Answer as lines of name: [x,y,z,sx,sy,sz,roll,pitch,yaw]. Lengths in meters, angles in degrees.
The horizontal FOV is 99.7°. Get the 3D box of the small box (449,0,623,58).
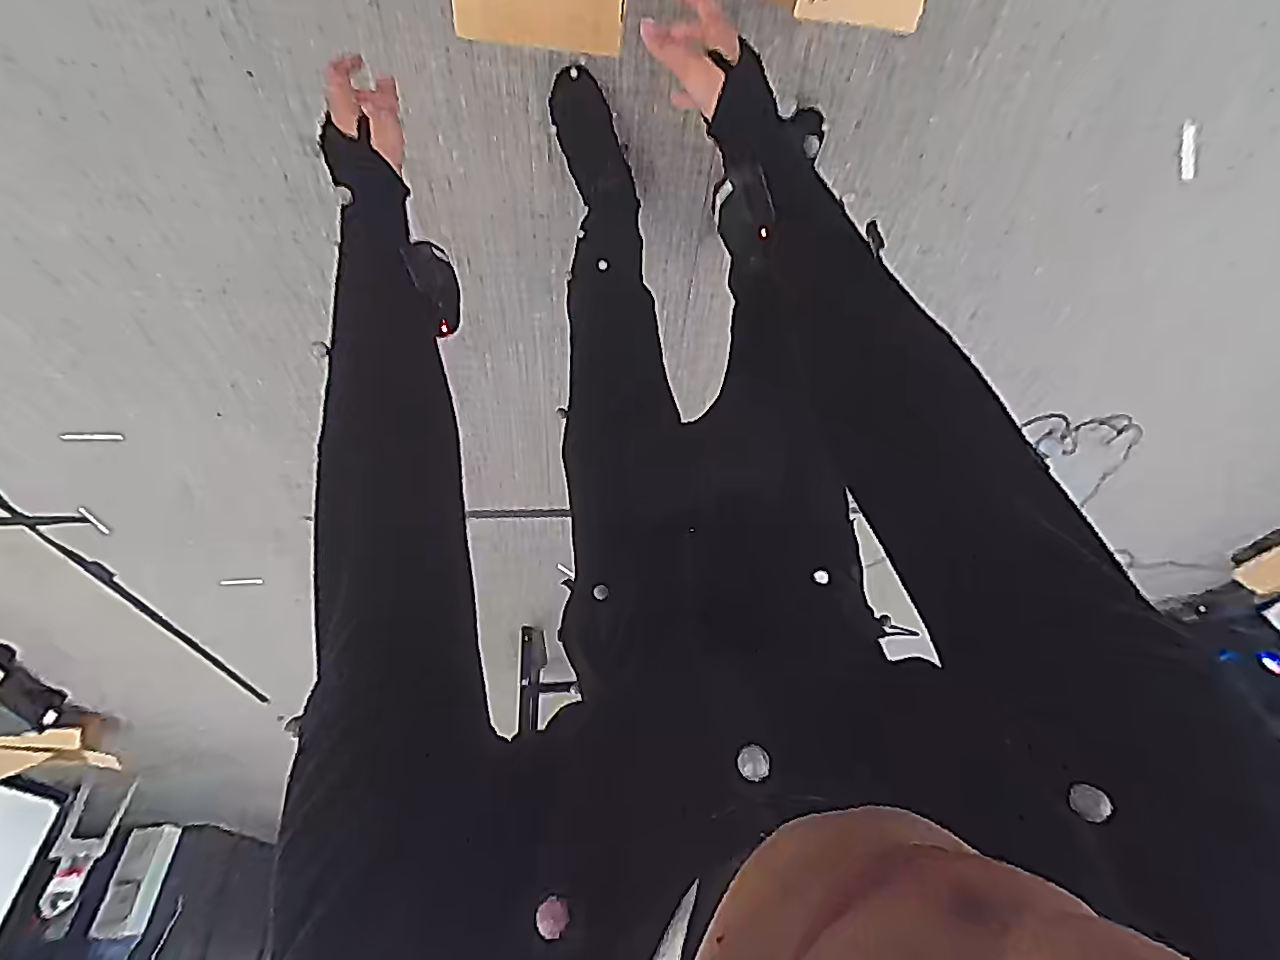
small box: [-0.105,-0.572,0.566,0.179,0.176,0.168,0,139,-8]

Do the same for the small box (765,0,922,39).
small box: [0.279,-0.712,0.708,0.179,0.176,0.168,0,139,-10]
